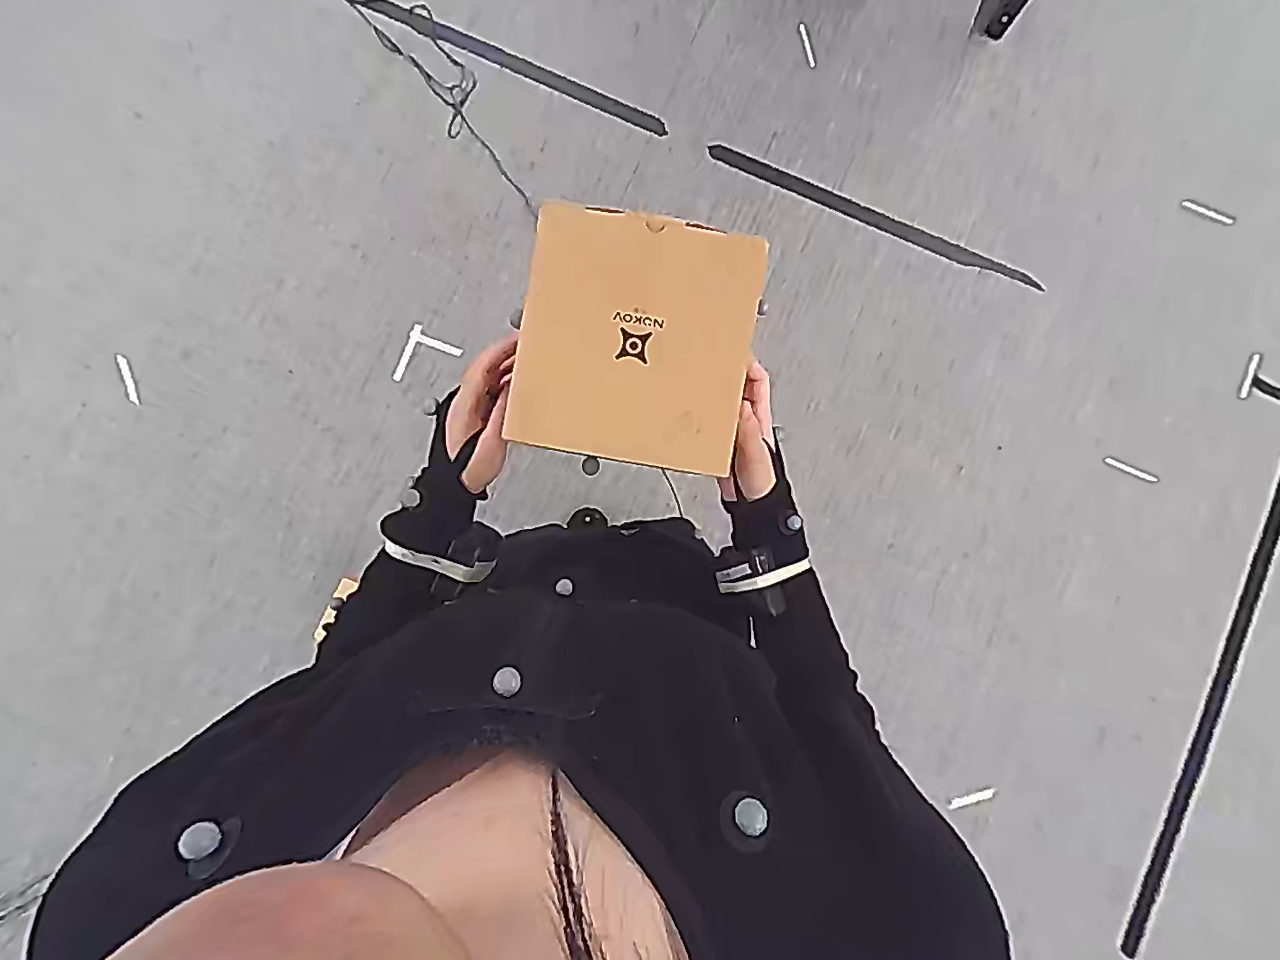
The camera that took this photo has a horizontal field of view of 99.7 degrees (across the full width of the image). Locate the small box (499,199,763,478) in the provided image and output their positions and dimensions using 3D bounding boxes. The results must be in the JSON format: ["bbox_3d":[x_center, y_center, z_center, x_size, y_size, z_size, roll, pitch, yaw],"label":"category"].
[{"bbox_3d":[-0.007,-0.100,0.461,0.168,0.176,0.179,9,89,-1],"label":"small box"}]
